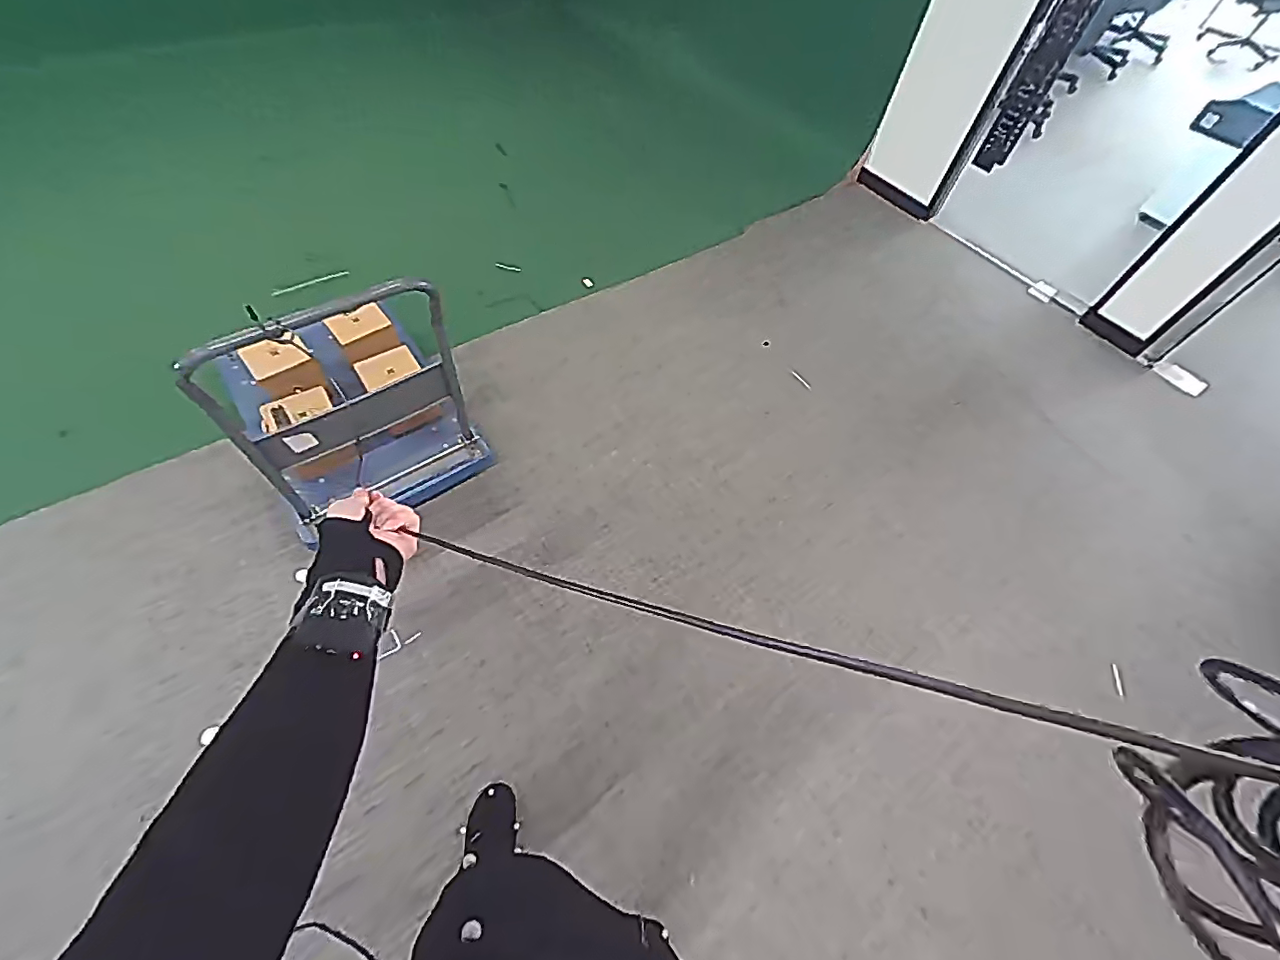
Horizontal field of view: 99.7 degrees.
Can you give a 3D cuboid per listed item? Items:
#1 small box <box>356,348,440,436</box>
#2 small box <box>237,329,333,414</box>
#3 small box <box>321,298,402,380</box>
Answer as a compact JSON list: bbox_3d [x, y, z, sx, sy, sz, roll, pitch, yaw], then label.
[{"bbox_3d":[-0.746,-0.270,1.680,0.168,0.176,0.179,-30,65,-22],"label":"small box"},{"bbox_3d":[-1.097,-0.329,1.684,0.168,0.176,0.179,-34,66,-24],"label":"small box"},{"bbox_3d":[-0.908,-0.460,1.785,0.168,0.176,0.179,-34,68,-23],"label":"small box"}]
